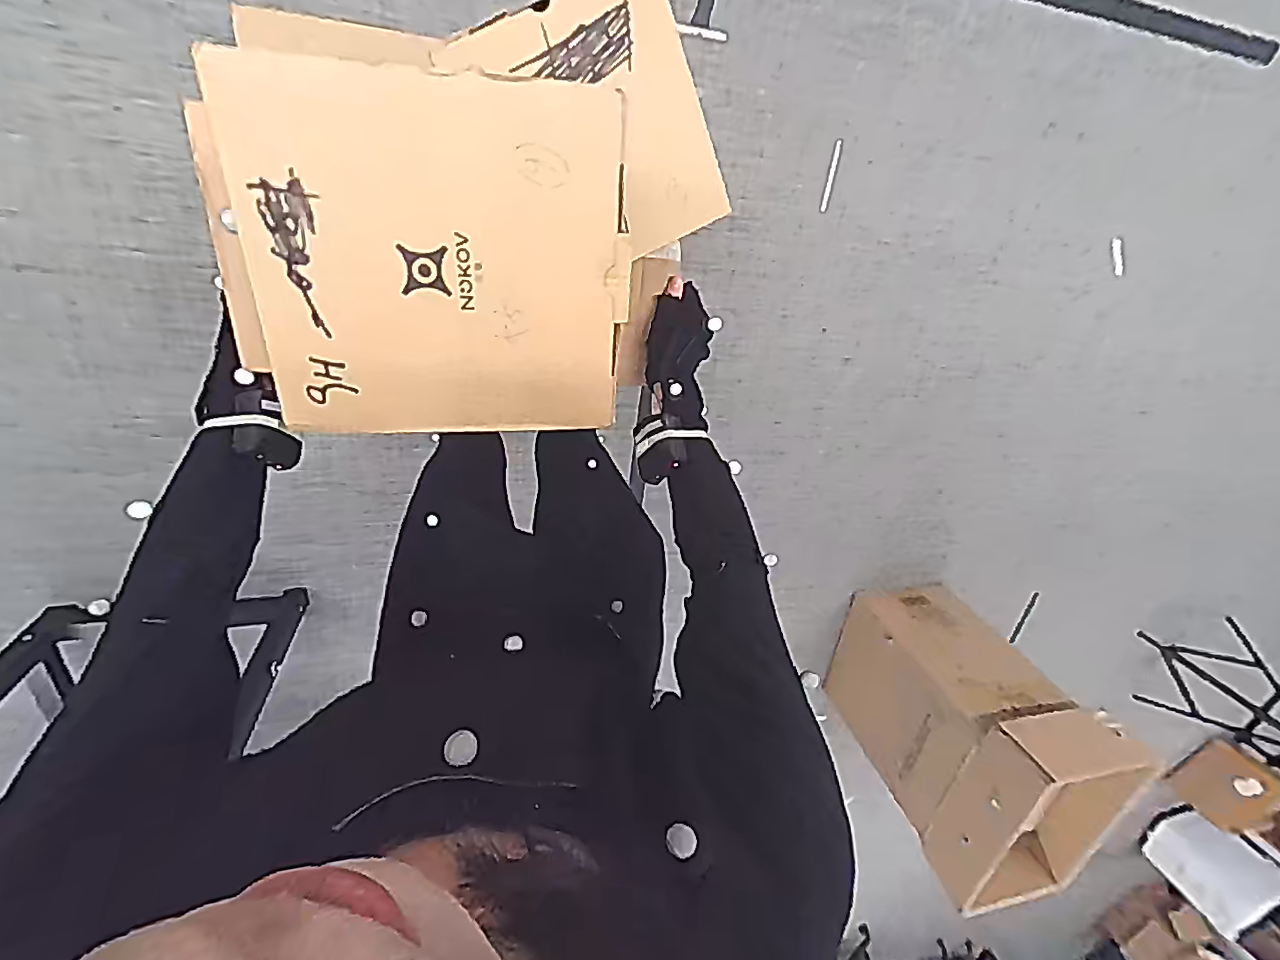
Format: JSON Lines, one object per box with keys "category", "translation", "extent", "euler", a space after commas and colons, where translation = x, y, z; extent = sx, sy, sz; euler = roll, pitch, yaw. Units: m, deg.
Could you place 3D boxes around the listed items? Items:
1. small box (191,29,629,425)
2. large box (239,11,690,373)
{"category": "small box", "translation": [-0.110, -0.140, 0.330], "extent": [0.179, 0.176, 0.168], "euler": [-2, 116, -11]}
{"category": "large box", "translation": [-0.185, -0.325, 0.686], "extent": [0.408, 0.320, 0.320], "euler": [-2, 117, -13]}
